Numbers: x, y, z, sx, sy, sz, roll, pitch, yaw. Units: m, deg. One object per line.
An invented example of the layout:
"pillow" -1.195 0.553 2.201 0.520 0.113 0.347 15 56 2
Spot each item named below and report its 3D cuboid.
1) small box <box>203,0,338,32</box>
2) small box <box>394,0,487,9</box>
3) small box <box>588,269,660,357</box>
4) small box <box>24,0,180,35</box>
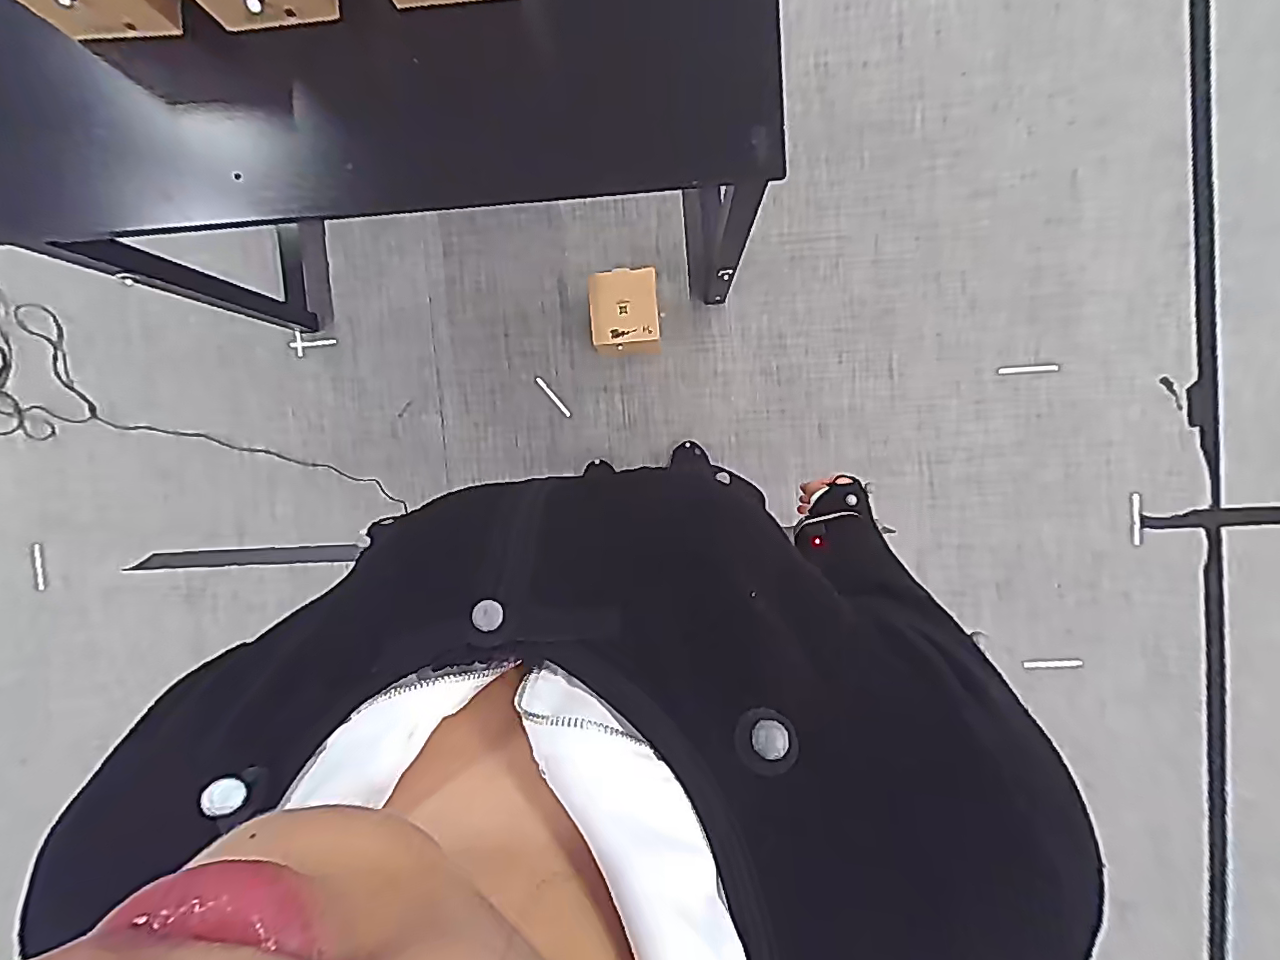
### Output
"small box" -0.508 -0.715 0.672 0.168 0.176 0.179 -4 94 3
"small box" -0.260 -0.730 0.661 0.179 0.176 0.168 -3 92 4
"small box" -0.037 -0.424 1.395 0.168 0.176 0.179 -4 93 4
"small box" -0.732 -0.709 0.685 0.168 0.176 0.179 0 93 2
